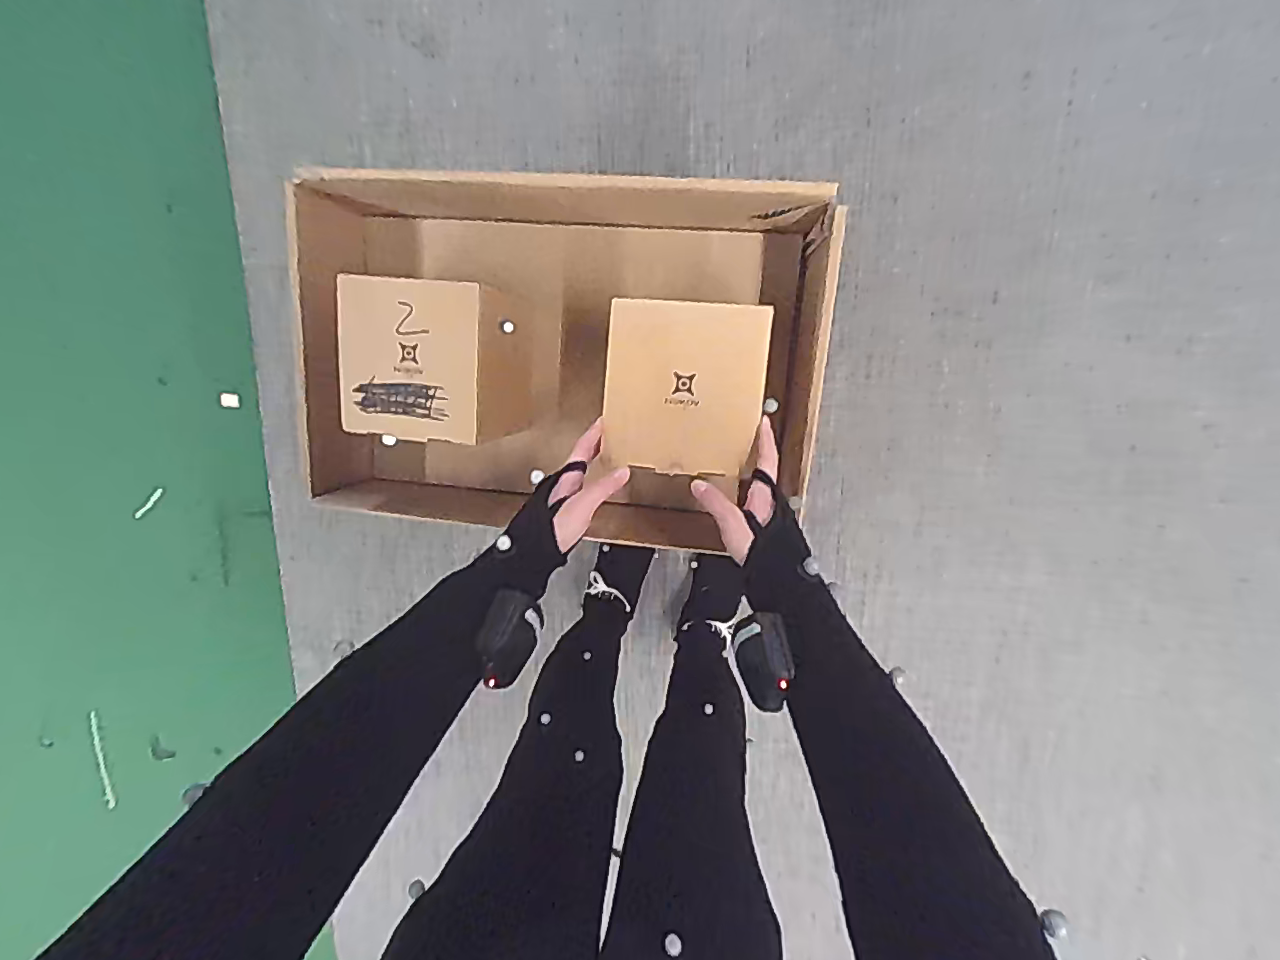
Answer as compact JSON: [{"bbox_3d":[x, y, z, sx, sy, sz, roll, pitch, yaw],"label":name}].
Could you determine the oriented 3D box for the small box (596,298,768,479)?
[{"bbox_3d":[0.050,-0.099,0.630,0.168,0.176,0.179,5,95,8],"label":"small box"}]
